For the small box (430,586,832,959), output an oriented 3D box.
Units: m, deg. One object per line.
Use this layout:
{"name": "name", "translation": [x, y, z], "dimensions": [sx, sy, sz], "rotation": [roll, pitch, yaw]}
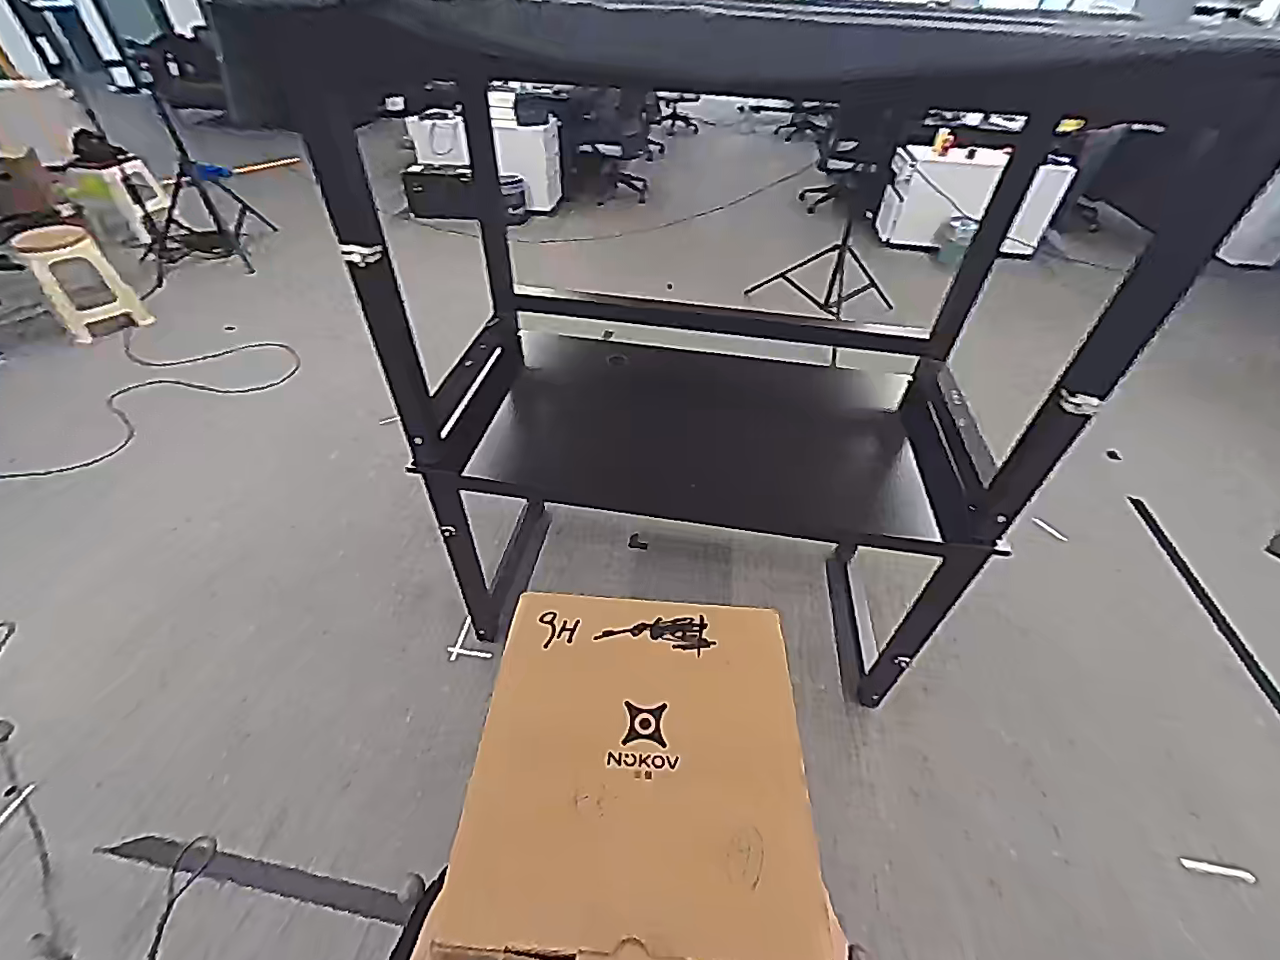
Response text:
{"name": "small box", "translation": [-0.002, 0.189, 0.328], "dimensions": [0.168, 0.176, 0.179], "rotation": [5, 43, 0]}
